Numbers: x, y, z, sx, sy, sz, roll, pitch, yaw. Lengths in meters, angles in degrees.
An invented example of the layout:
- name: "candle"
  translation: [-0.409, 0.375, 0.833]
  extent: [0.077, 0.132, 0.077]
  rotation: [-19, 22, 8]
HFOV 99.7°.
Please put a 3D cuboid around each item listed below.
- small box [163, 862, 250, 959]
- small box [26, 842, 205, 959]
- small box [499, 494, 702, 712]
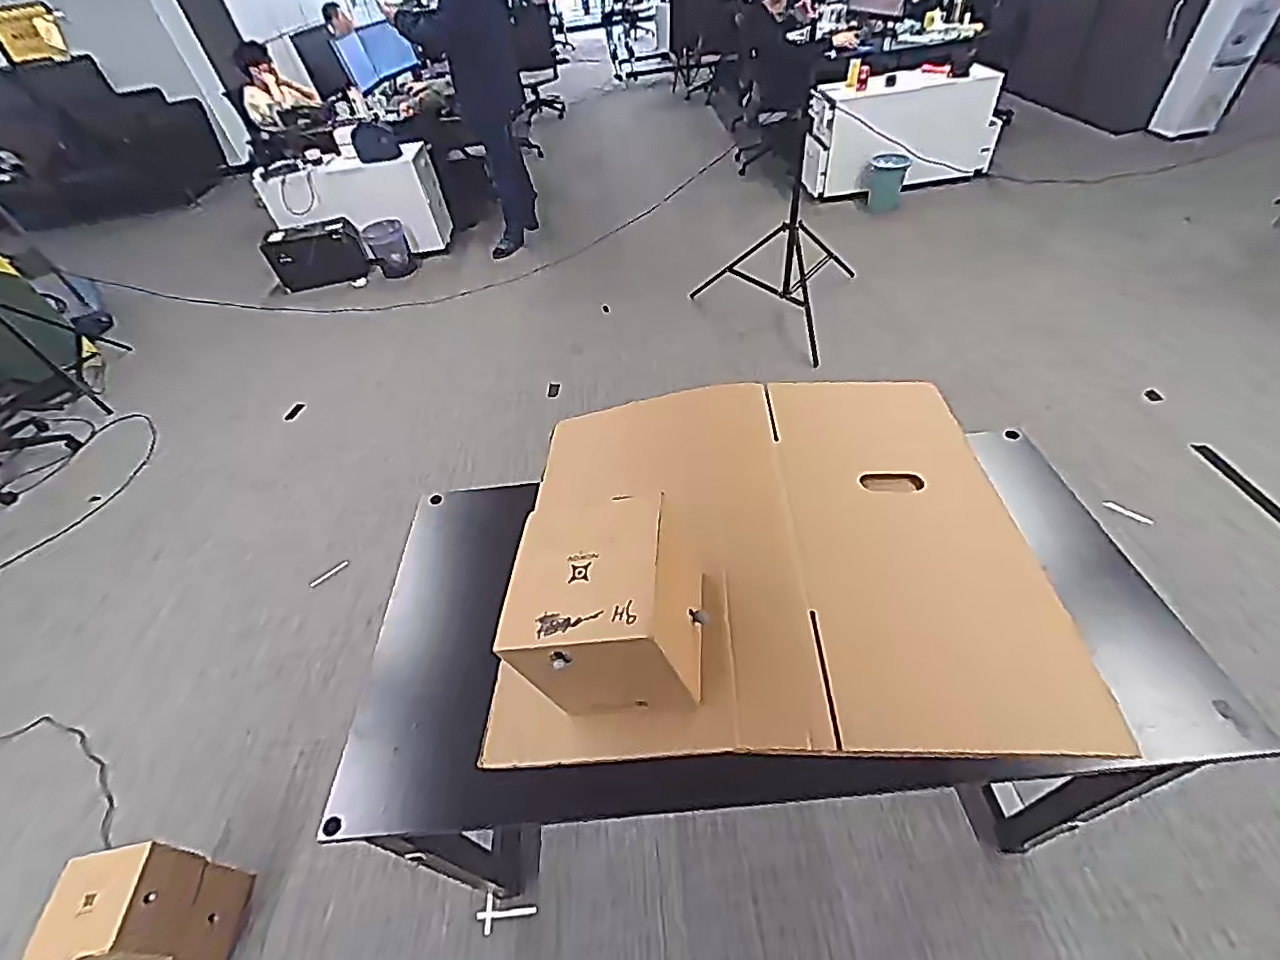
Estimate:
- name: "small box"
  translation: [-1.013, 0.977, 1.198]
  extent: [0.168, 0.176, 0.179]
  rotation: [-10, 46, -1]
- name: "small box"
  translation: [-1.033, 0.861, 1.085]
  extent: [0.168, 0.176, 0.179]
  rotation: [-11, 45, -4]
- name: "small box"
  translation: [-0.030, 0.143, 0.617]
  extent: [0.168, 0.176, 0.179]
  rotation: [-11, 44, 17]
